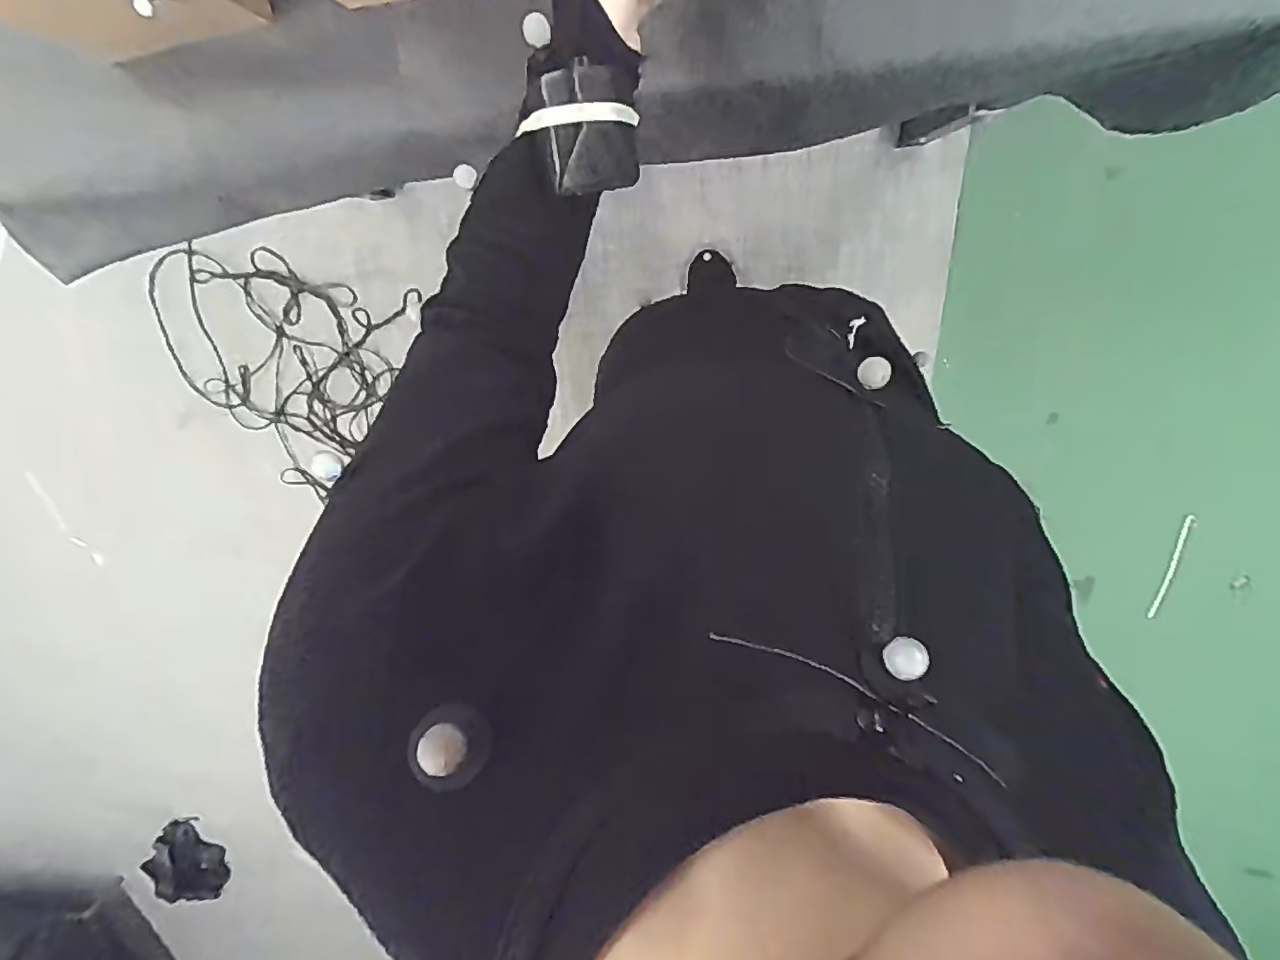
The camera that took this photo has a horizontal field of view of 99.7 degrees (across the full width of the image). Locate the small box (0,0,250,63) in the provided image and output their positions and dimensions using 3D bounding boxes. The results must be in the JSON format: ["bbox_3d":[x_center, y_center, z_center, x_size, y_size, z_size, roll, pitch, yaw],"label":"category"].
[{"bbox_3d":[-0.424,-0.432,0.381,0.179,0.176,0.168,-7,111,9],"label":"small box"}]
